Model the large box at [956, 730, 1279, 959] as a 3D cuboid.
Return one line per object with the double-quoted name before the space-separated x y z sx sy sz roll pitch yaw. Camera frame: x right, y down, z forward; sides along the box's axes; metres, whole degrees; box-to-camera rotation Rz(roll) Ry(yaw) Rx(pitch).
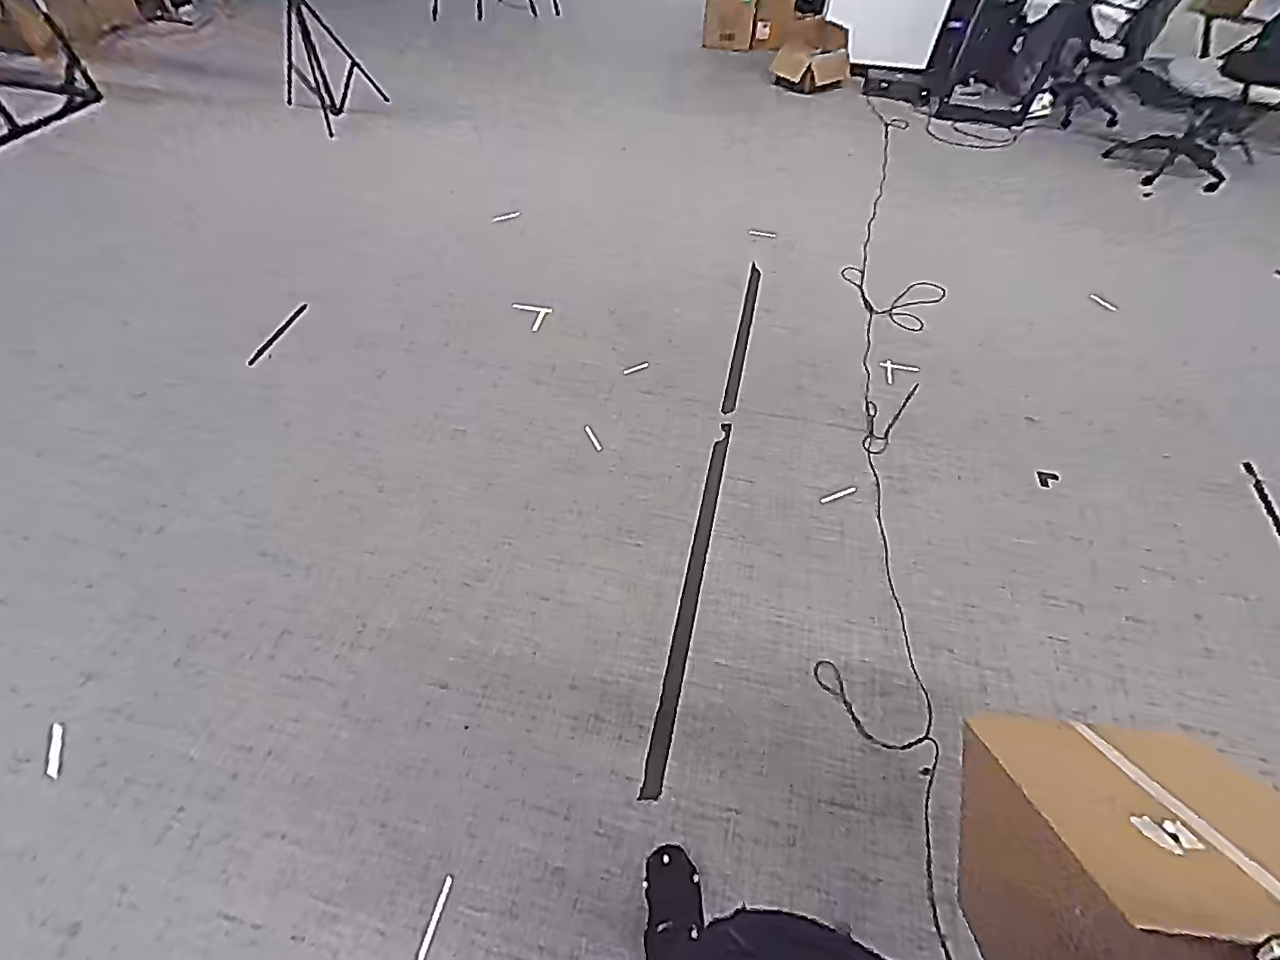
"large box" 0.627 0.566 0.648 0.320 0.408 0.320 1 94 11
